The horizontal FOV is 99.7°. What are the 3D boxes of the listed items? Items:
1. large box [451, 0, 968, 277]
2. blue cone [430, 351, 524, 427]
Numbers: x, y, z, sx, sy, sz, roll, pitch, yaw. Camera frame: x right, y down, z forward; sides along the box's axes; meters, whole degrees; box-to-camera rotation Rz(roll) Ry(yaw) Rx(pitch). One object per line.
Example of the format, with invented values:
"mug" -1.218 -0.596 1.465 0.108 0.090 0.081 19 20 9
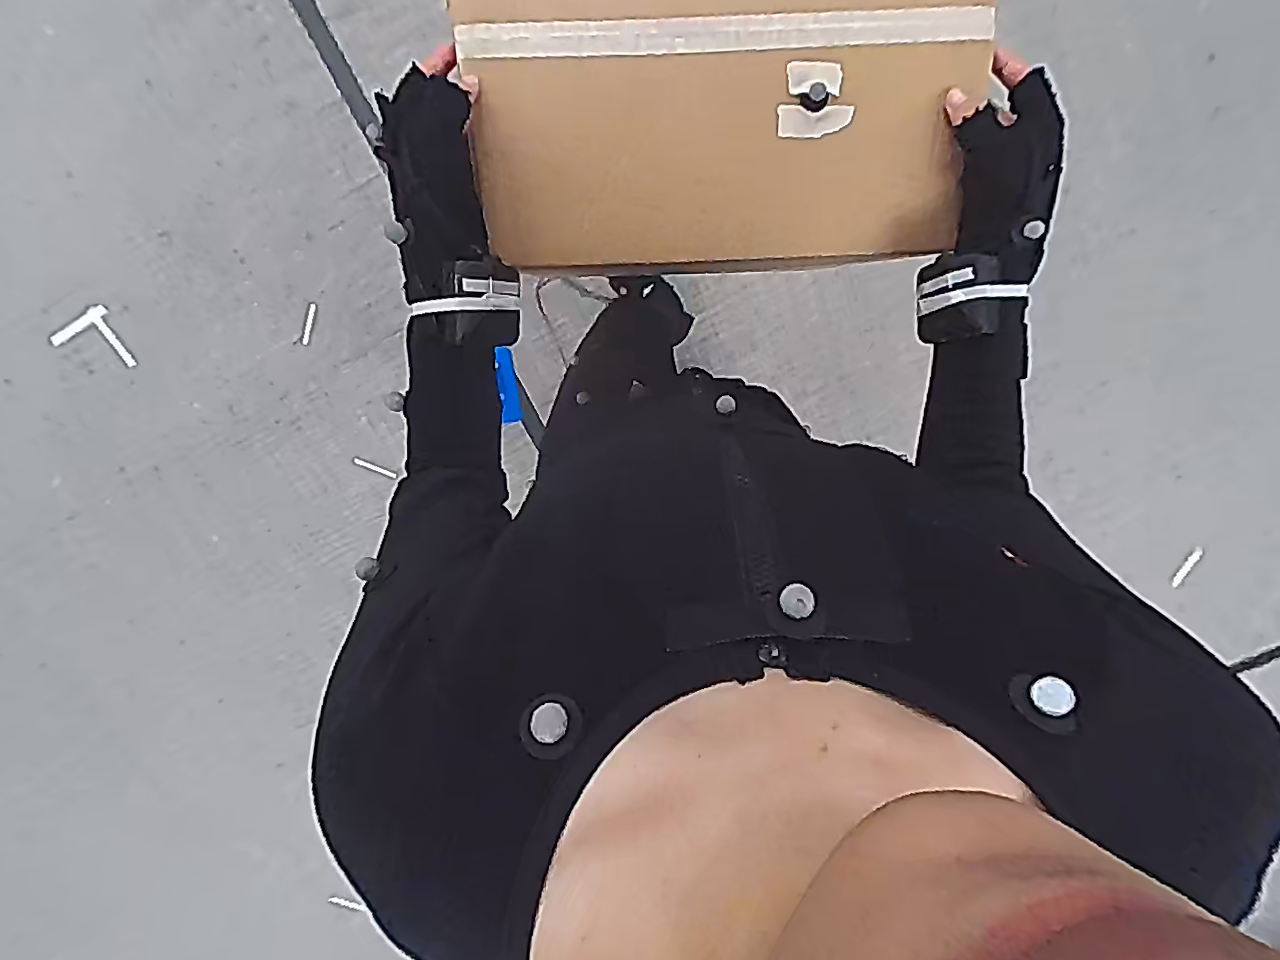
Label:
"large box" 0.050 -0.393 0.560 0.408 0.320 0.320 -3 109 -1
"blue cone" -0.413 -0.197 1.281 0.193 0.380 0.192 -4 105 2
